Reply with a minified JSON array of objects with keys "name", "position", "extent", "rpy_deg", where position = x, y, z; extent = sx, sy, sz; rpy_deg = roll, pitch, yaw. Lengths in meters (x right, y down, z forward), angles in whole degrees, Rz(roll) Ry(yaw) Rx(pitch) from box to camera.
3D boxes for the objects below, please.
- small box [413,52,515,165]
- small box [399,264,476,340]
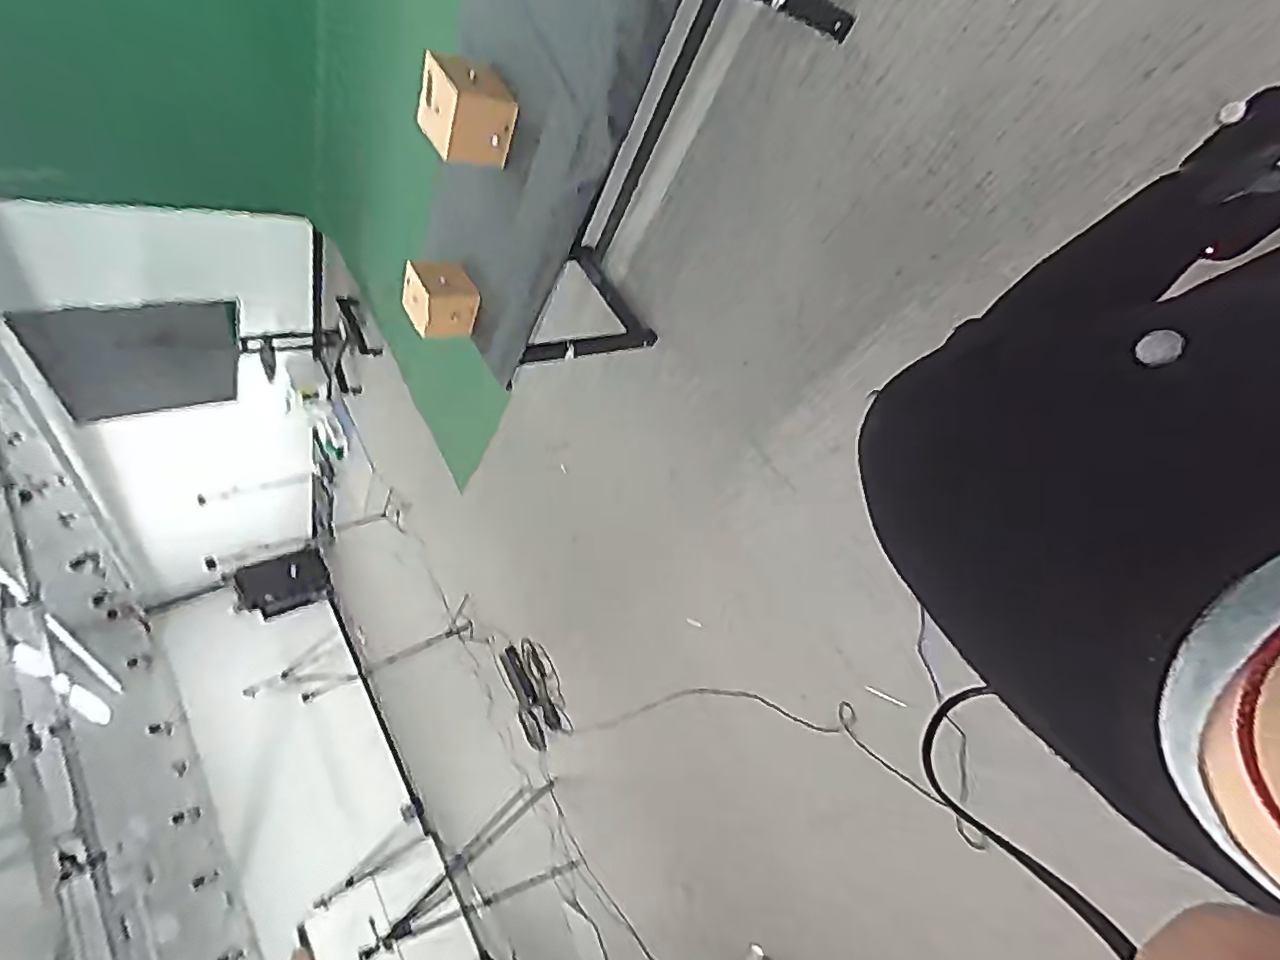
[{"name":"small box","position":[-0.445,-0.927,1.367],"extent":[0.179,0.176,0.168],"rpy_deg":[55,138,15]},{"name":"small box","position":[-0.652,-0.579,1.742],"extent":[0.179,0.176,0.168],"rpy_deg":[54,137,18]}]
